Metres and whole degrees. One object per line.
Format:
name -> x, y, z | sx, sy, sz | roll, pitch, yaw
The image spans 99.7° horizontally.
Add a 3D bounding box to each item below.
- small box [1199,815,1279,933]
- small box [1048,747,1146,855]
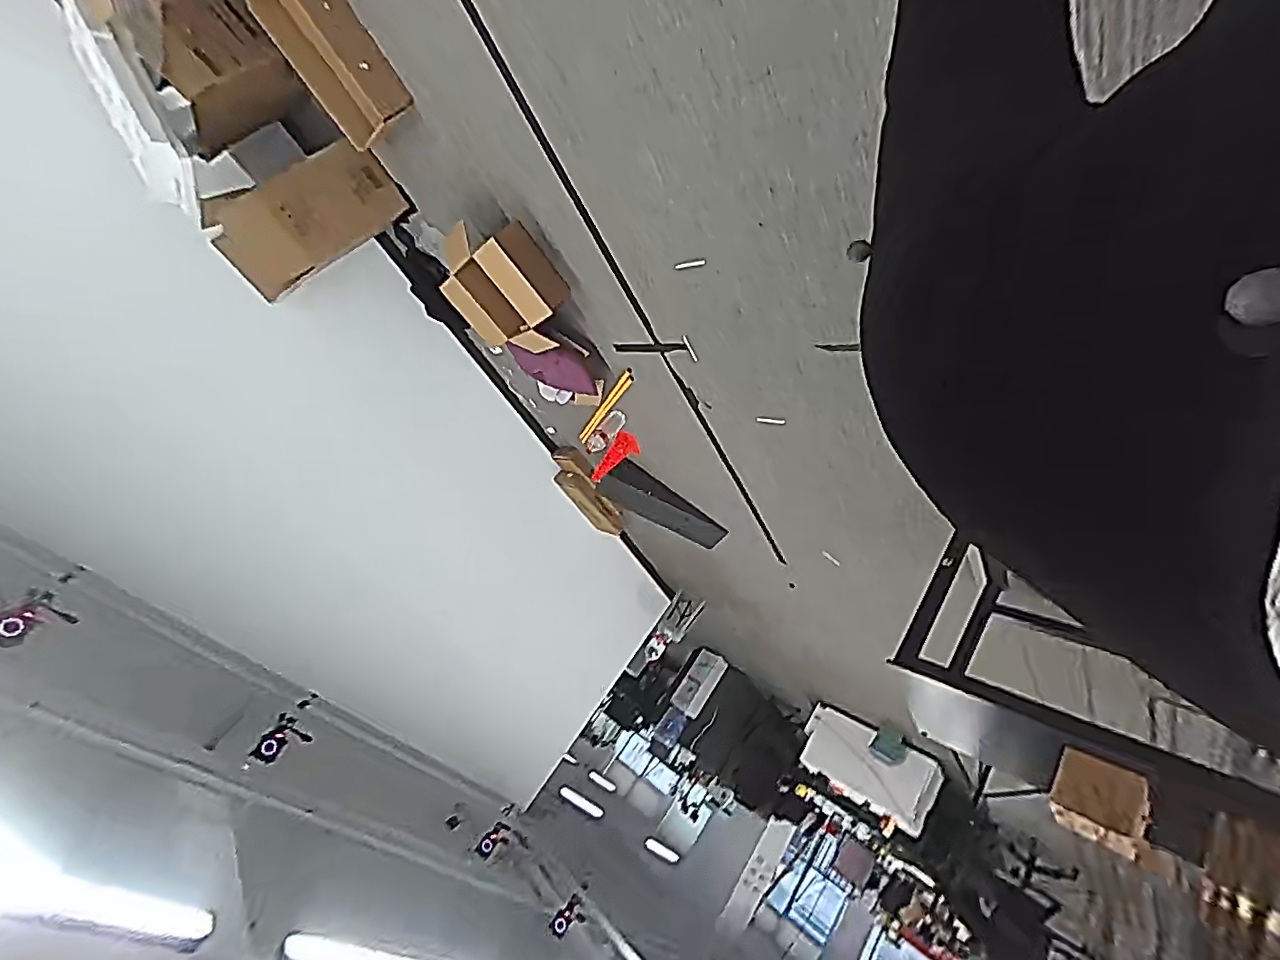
small box -> 1.445, 0.918, 1.260 | 0.179, 0.176, 0.168 | 8, 144, 51
small box -> 1.251, 0.868, 1.476 | 0.179, 0.176, 0.168 | 9, 144, 51
